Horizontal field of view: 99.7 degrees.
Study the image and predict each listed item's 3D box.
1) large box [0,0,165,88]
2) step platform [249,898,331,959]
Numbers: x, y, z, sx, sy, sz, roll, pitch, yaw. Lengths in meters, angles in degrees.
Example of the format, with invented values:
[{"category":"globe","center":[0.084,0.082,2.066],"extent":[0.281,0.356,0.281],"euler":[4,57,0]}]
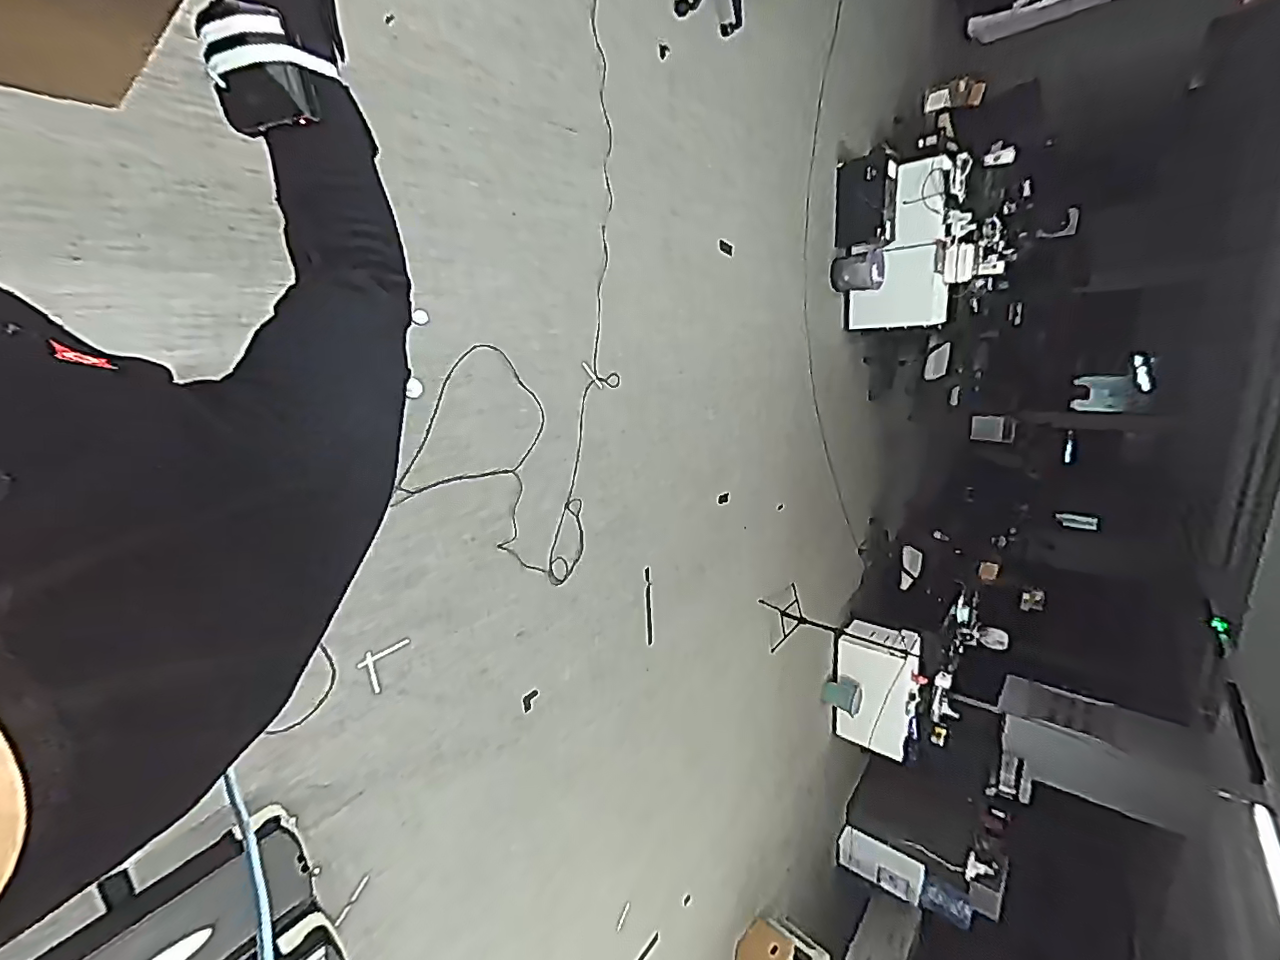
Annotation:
[{"category":"large box","center":[-0.519,-0.440,0.236],"extent":[0.408,0.320,0.320],"euler":[-22,116,-48]},{"category":"step platform","center":[-1.078,1.360,1.231],"extent":[0.684,0.204,0.286],"euler":[-24,115,-44]}]
